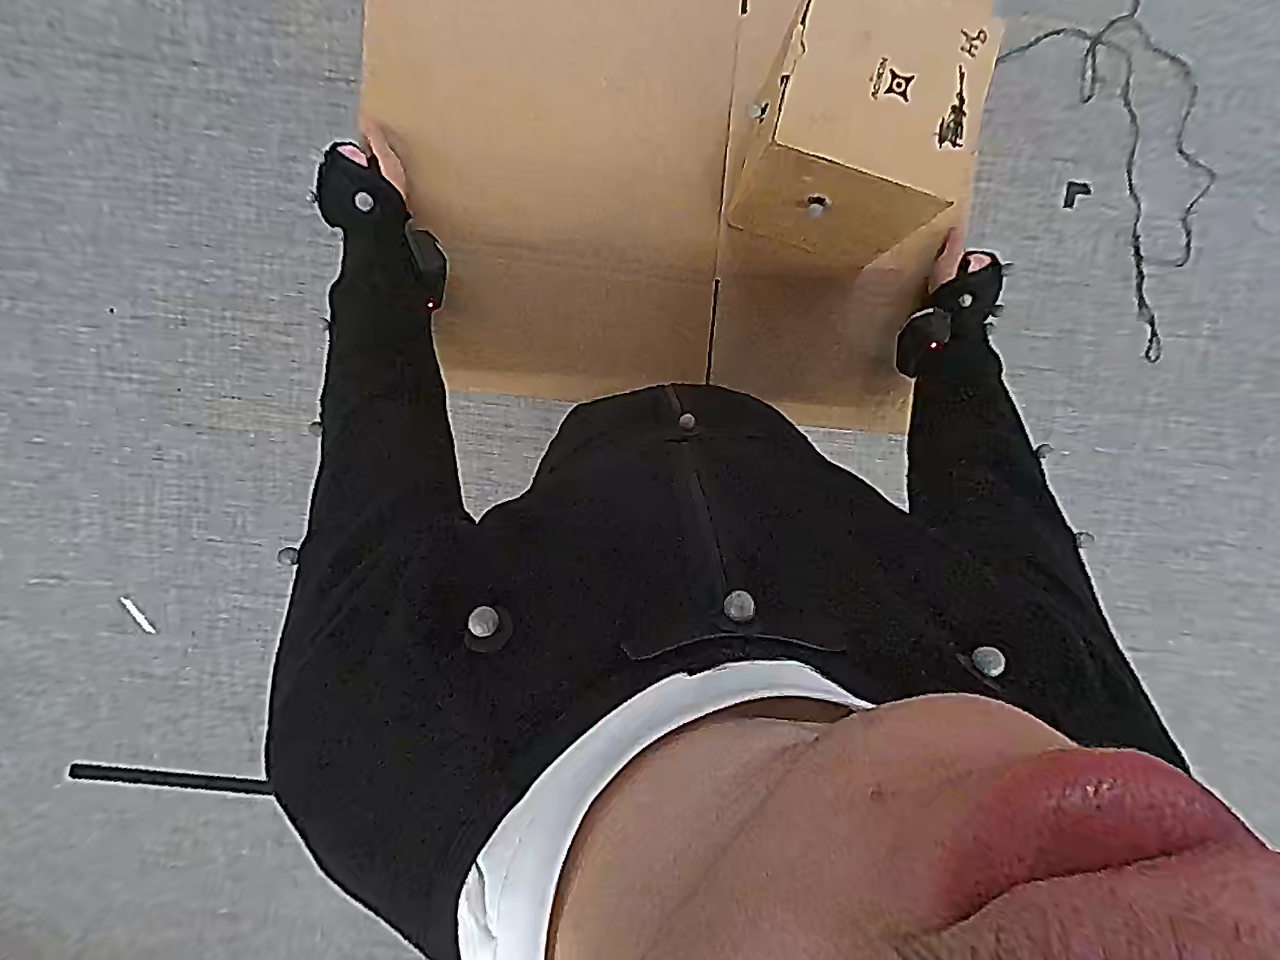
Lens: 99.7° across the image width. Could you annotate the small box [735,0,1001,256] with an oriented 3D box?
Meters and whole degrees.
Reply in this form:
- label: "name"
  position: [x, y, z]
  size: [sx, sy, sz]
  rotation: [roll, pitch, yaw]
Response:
- label: "small box"
  position: [0.212, -0.355, 0.555]
  size: [0.179, 0.176, 0.168]
  rotation: [15, 92, -4]
